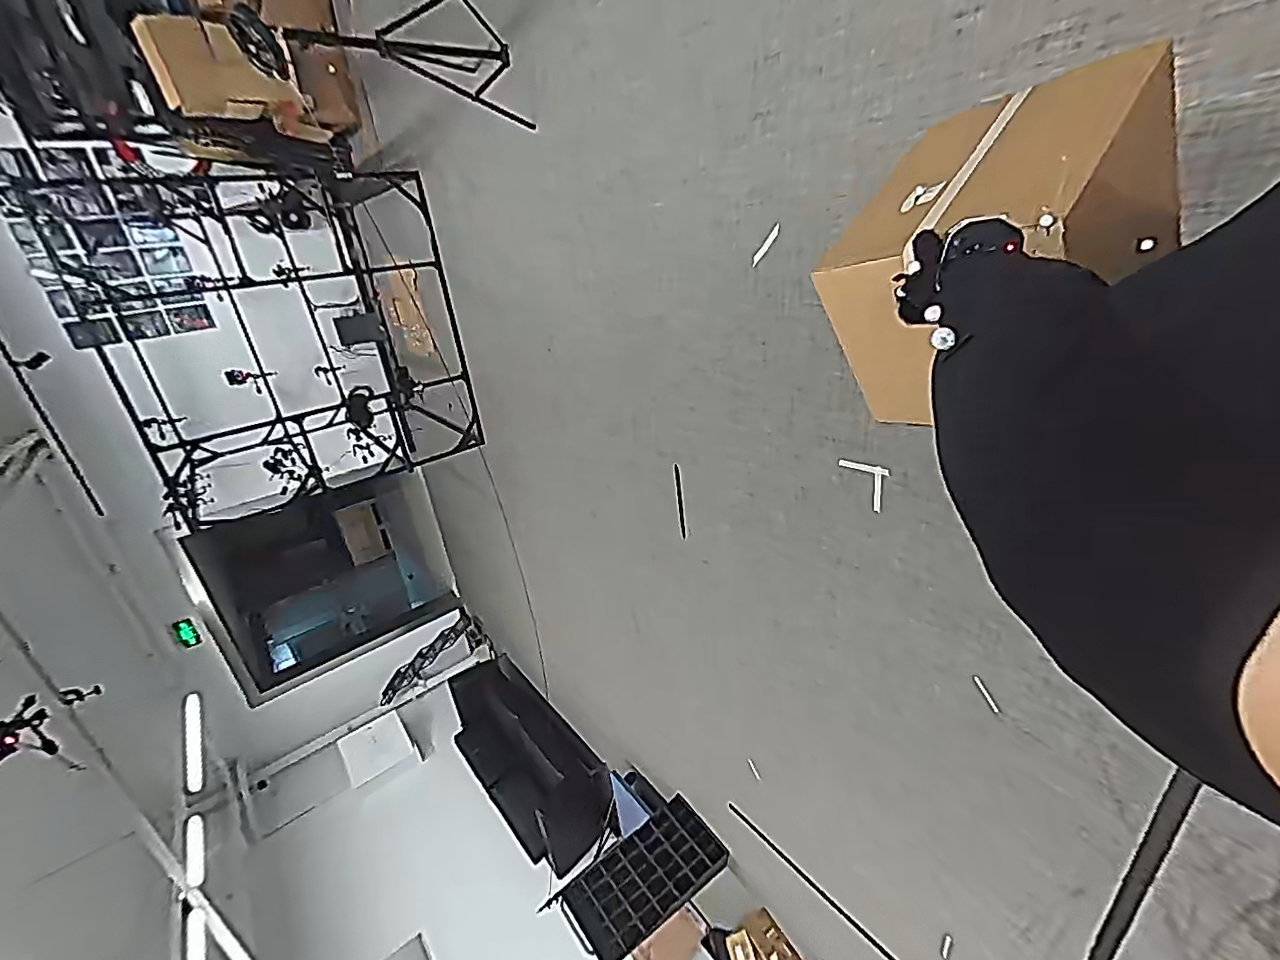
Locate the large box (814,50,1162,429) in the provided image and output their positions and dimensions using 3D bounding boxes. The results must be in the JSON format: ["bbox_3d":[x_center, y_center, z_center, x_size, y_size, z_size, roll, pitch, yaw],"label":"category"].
[{"bbox_3d":[0.543,-0.332,0.830,0.320,0.408,0.320,12,148,53],"label":"large box"}]
